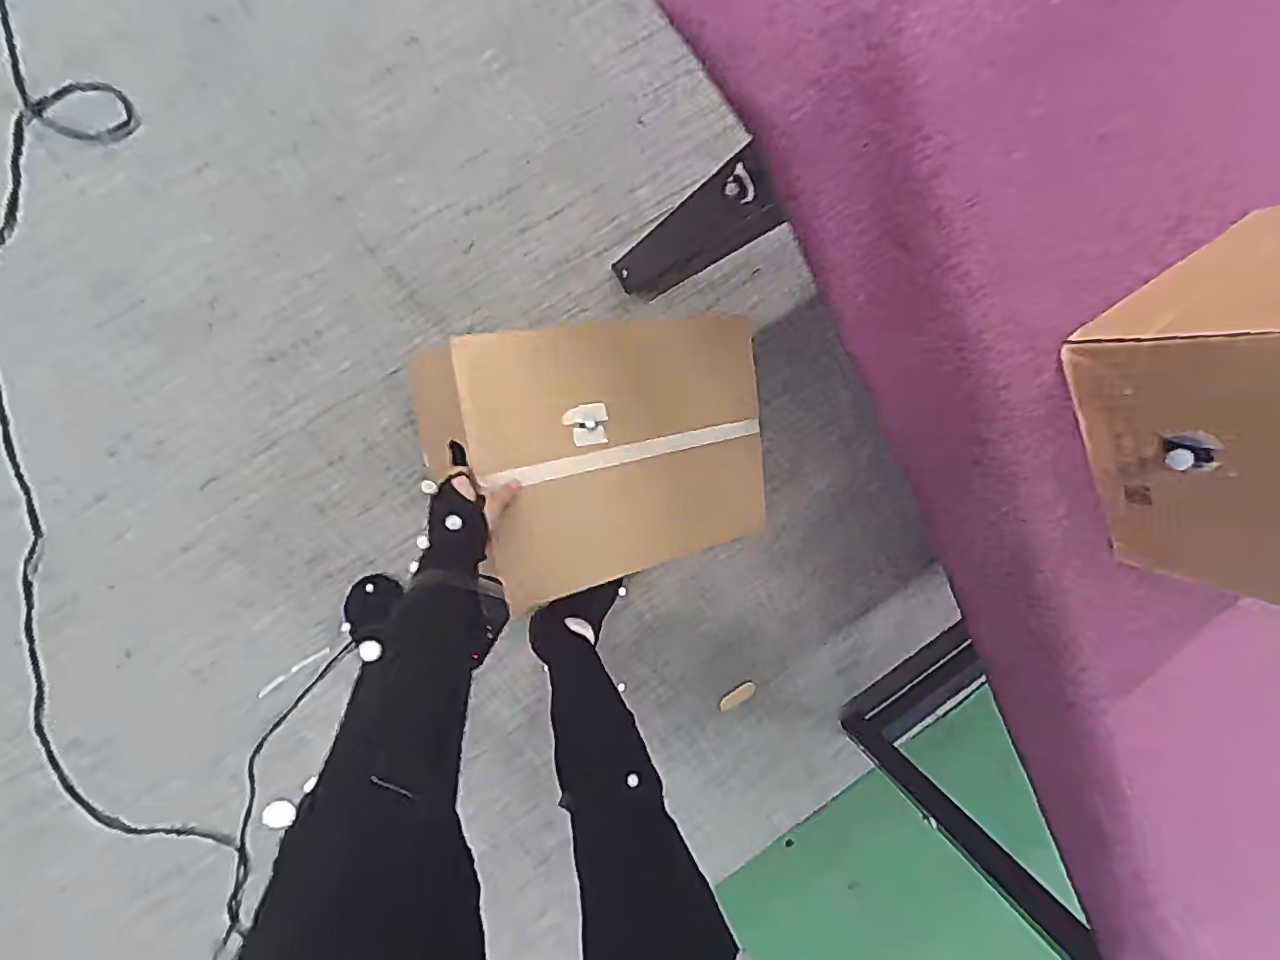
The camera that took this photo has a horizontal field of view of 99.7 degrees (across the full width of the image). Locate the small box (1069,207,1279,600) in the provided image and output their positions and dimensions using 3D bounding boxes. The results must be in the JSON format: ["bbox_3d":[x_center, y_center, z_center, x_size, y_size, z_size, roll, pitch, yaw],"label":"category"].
[{"bbox_3d":[0.376,-0.045,0.274,0.179,0.176,0.168,-32,107,-7],"label":"small box"}]
